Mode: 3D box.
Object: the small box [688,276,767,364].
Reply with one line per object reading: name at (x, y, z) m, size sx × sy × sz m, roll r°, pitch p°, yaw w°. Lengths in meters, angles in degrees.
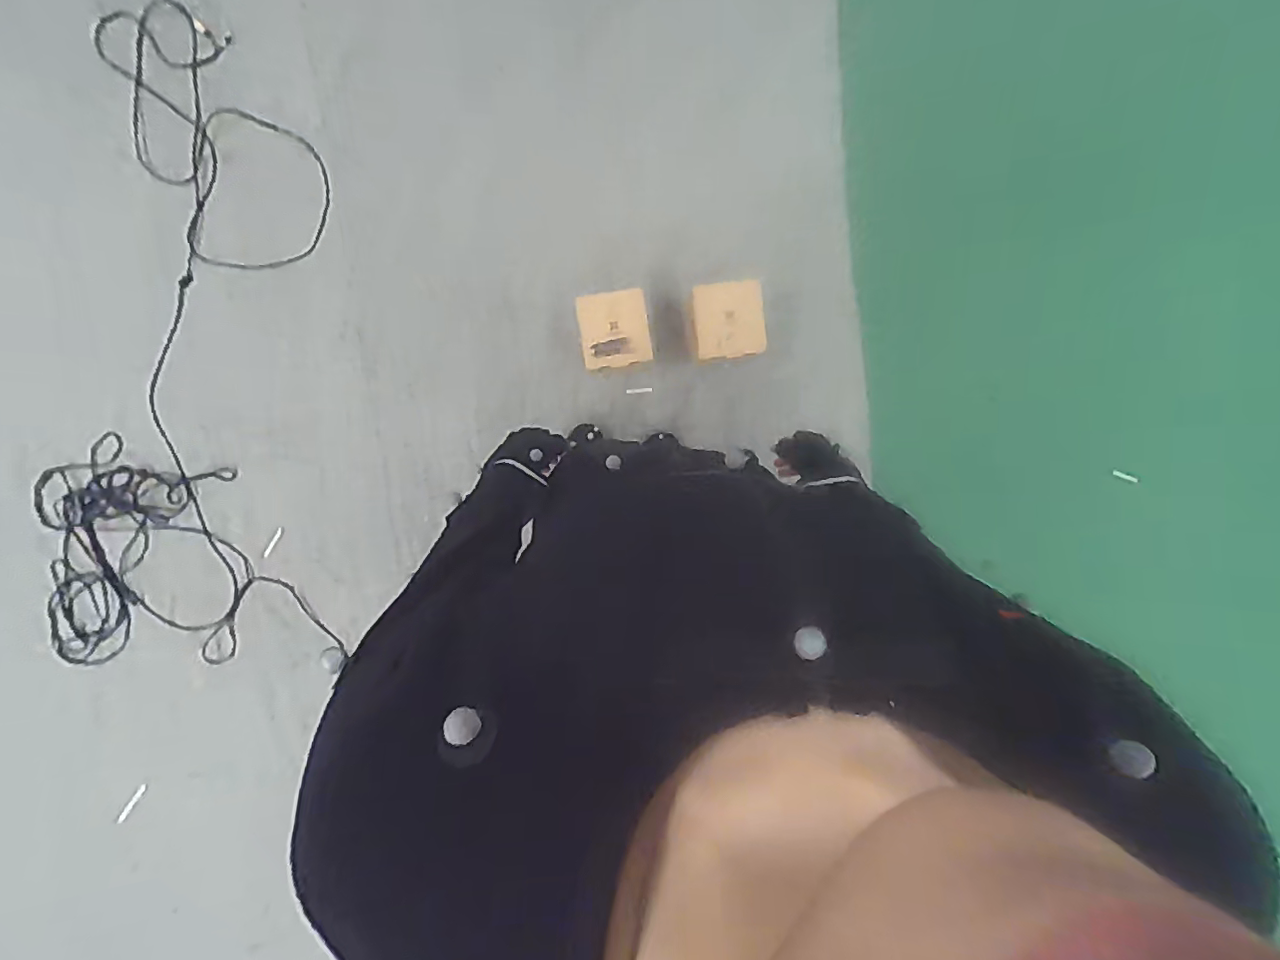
small box at (0.216, -0.399, 1.374) m, size 0.168 × 0.176 × 0.179 m, roll -6°, pitch 95°, yaw 1°
